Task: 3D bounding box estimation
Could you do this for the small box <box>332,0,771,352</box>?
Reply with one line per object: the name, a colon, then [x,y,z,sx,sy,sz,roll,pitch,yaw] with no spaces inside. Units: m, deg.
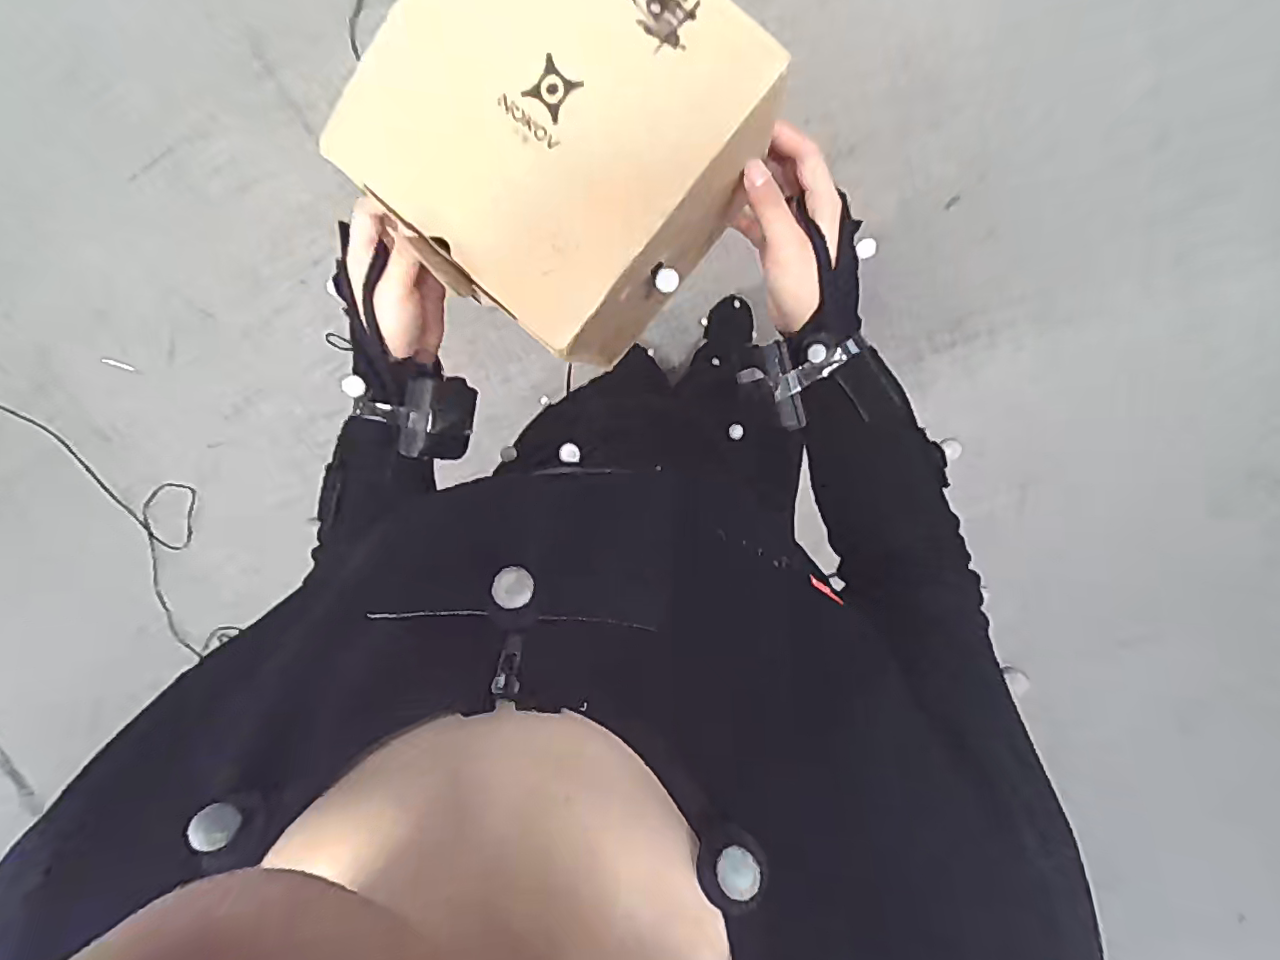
small box: [-0.040,-0.199,0.348,0.168,0.176,0.179,40,102,-2]
